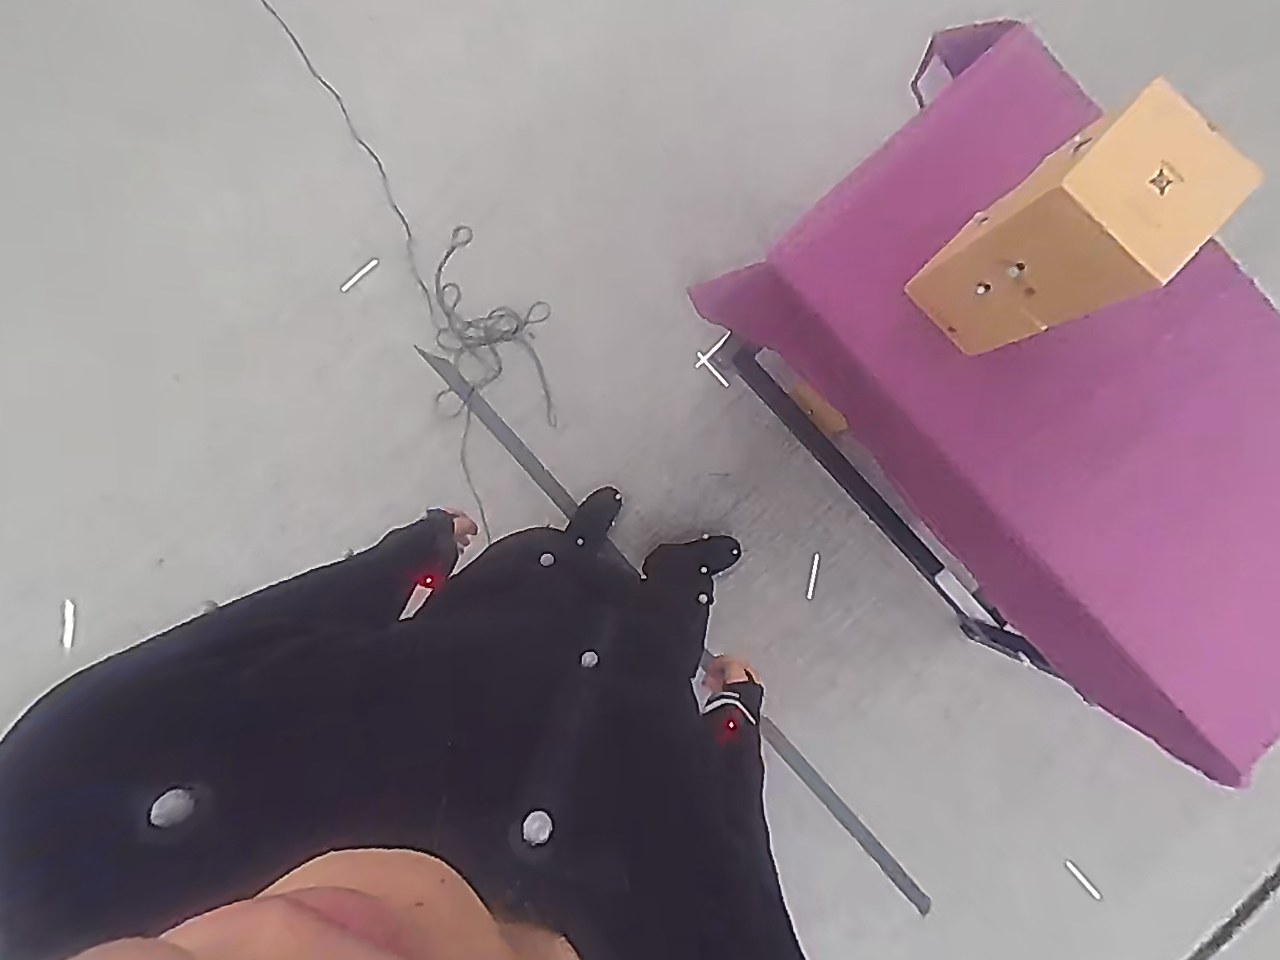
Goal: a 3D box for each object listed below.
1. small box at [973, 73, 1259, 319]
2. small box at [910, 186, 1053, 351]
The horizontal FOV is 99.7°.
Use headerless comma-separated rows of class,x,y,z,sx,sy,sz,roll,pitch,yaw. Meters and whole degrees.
small box,0.573,-0.336,0.678,0.168,0.176,0.179,44,89,-2
small box,0.568,-0.331,0.841,0.179,0.176,0.168,-45,91,-2
